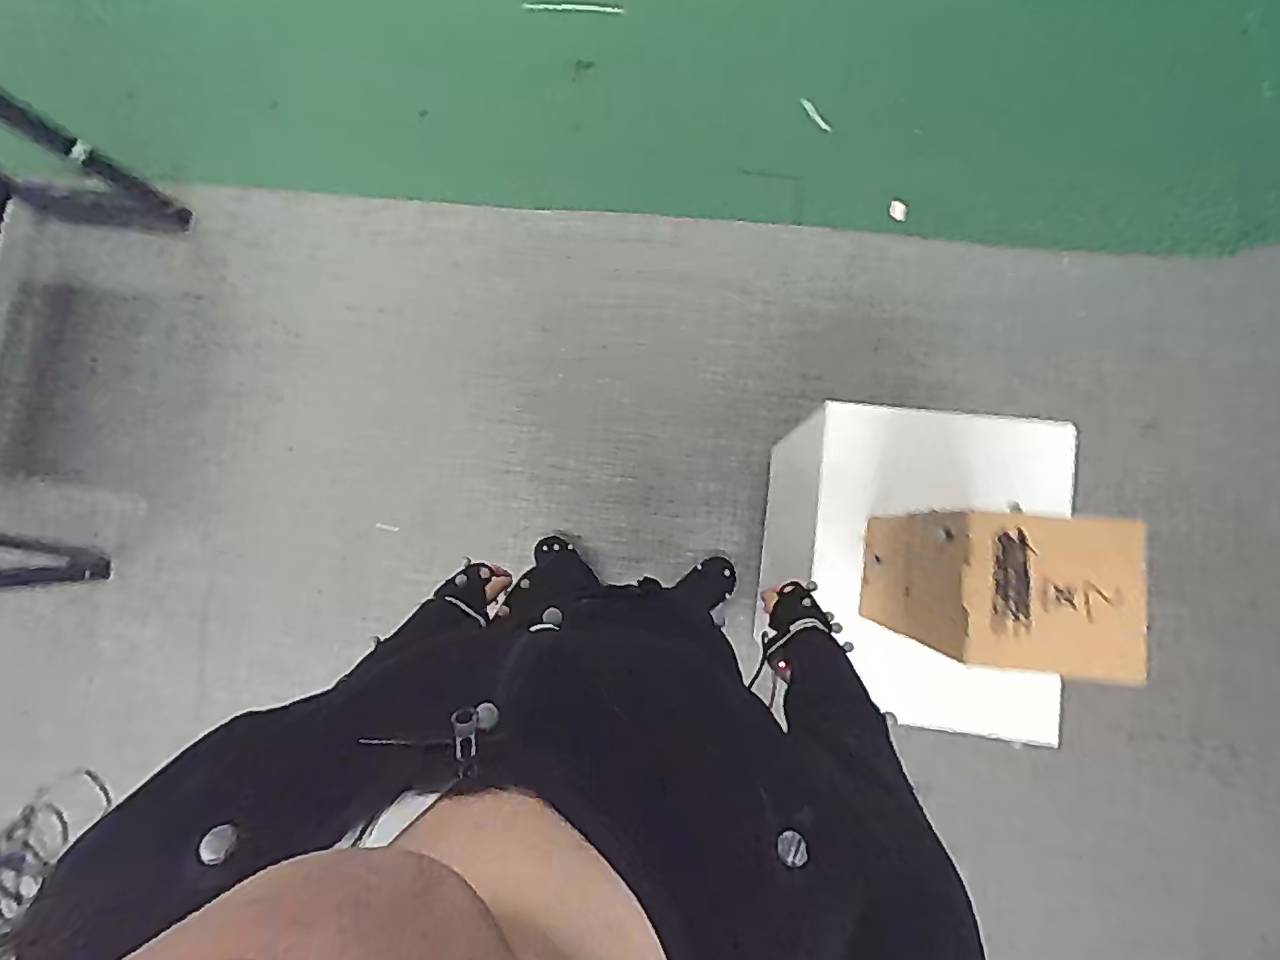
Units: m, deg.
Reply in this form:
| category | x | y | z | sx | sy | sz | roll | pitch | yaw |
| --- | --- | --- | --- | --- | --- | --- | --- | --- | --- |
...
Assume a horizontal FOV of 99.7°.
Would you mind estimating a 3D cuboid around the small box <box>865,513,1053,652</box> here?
| category | x | y | z | sx | sy | sz | roll | pitch | yaw |
| --- | --- | --- | --- | --- | --- | --- | --- | --- | --- |
| small box | 0.453 | 0.139 | 0.790 | 0.179 | 0.176 | 0.168 | 7 | 86 | 5 |
